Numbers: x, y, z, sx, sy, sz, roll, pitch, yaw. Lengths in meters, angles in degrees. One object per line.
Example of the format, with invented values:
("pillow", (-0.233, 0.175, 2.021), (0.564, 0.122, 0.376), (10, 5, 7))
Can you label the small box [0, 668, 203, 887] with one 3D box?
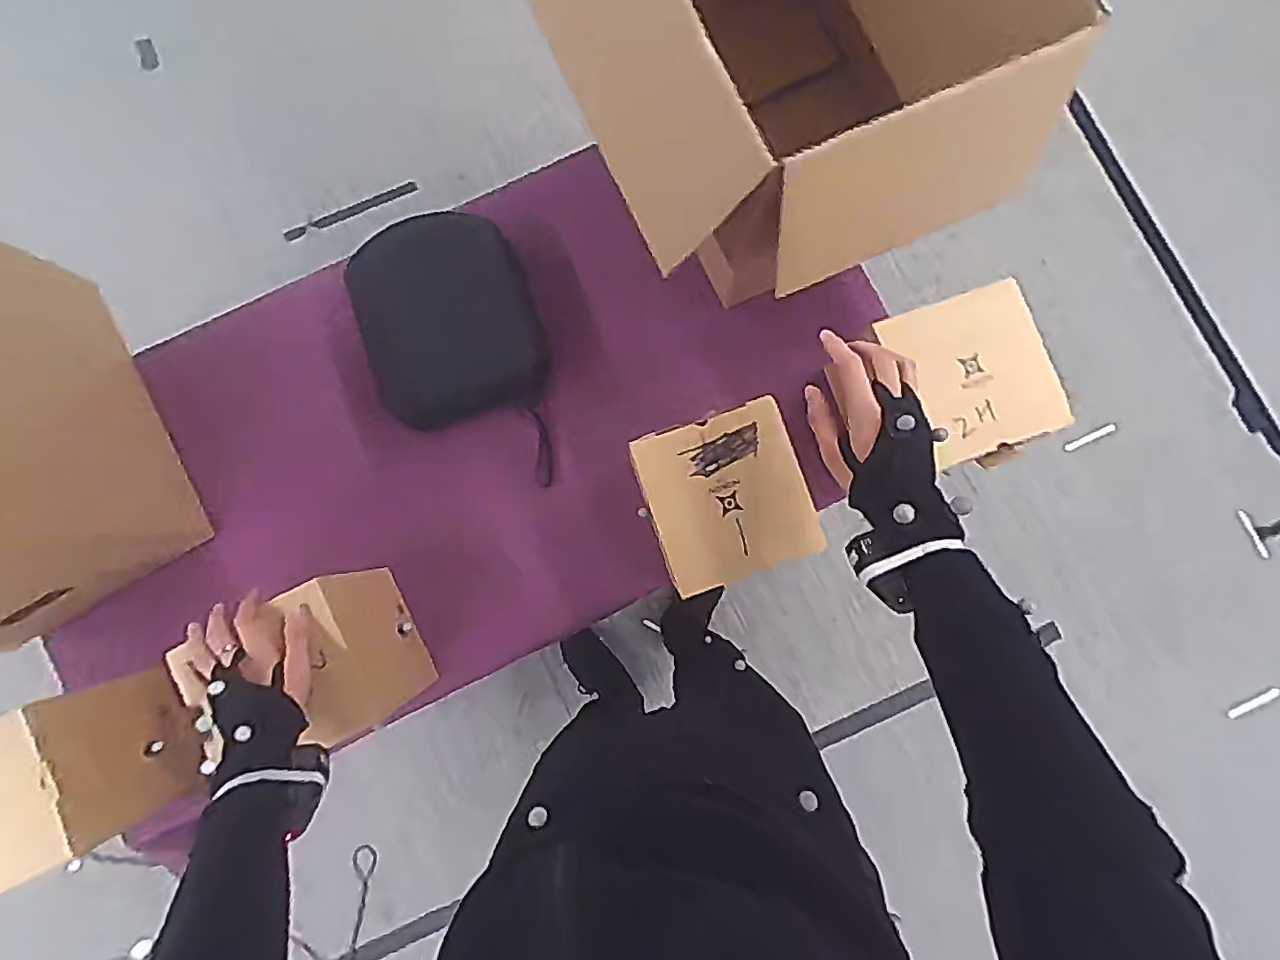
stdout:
("small box", (-0.677, 0.345, 0.631), (0.179, 0.176, 0.168), (-24, 85, -3))

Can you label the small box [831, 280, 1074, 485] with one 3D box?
("small box", (0.356, -0.104, 0.655), (0.168, 0.176, 0.179), (-18, 85, 0))
